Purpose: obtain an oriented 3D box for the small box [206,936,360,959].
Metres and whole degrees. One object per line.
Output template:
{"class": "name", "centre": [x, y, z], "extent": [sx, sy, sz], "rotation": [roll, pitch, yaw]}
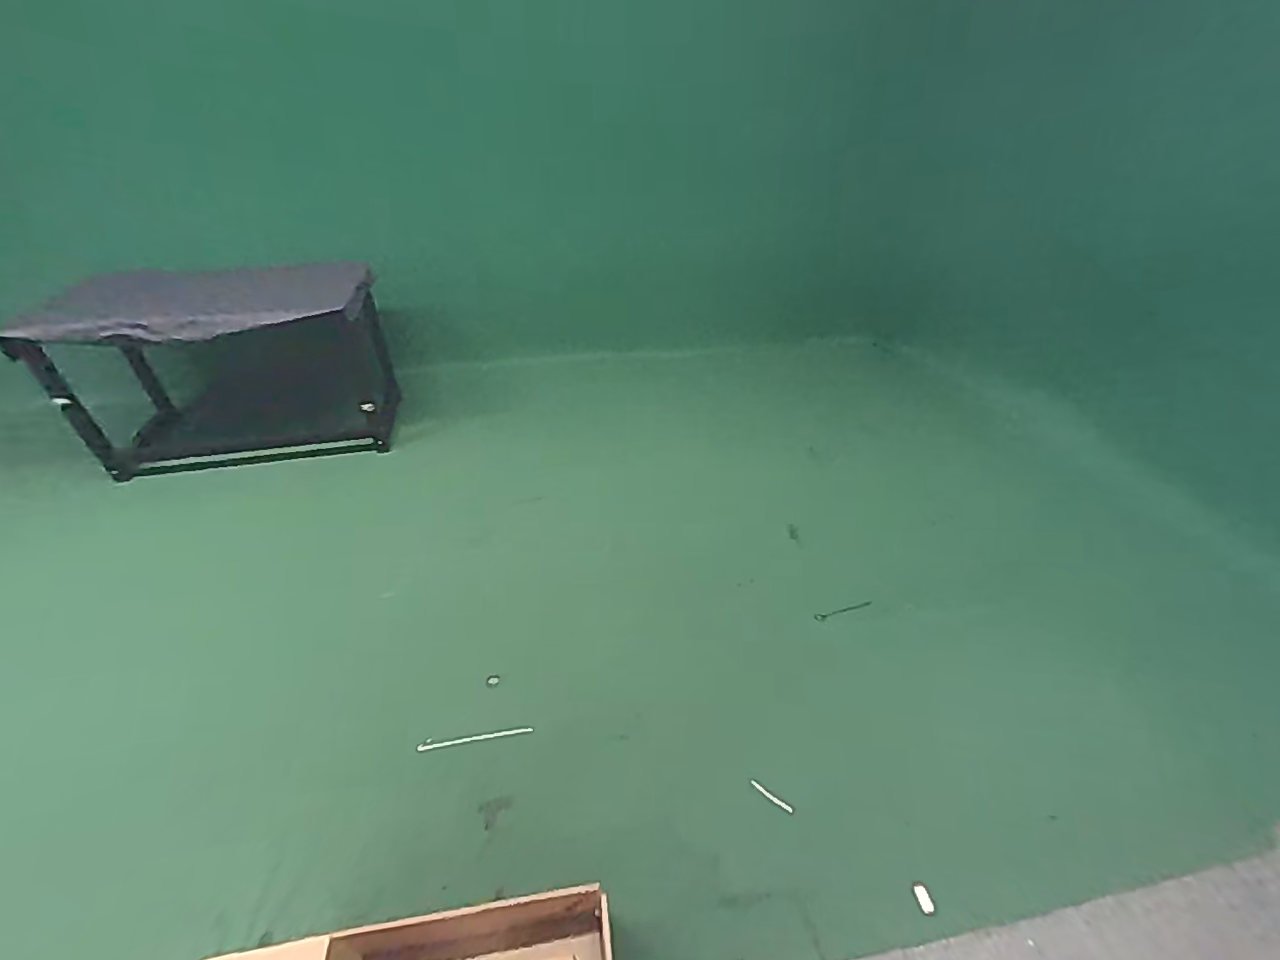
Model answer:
{"class": "small box", "centre": [-0.500, 0.759, 0.737], "extent": [0.179, 0.176, 0.168], "rotation": [-6, 38, -8]}
